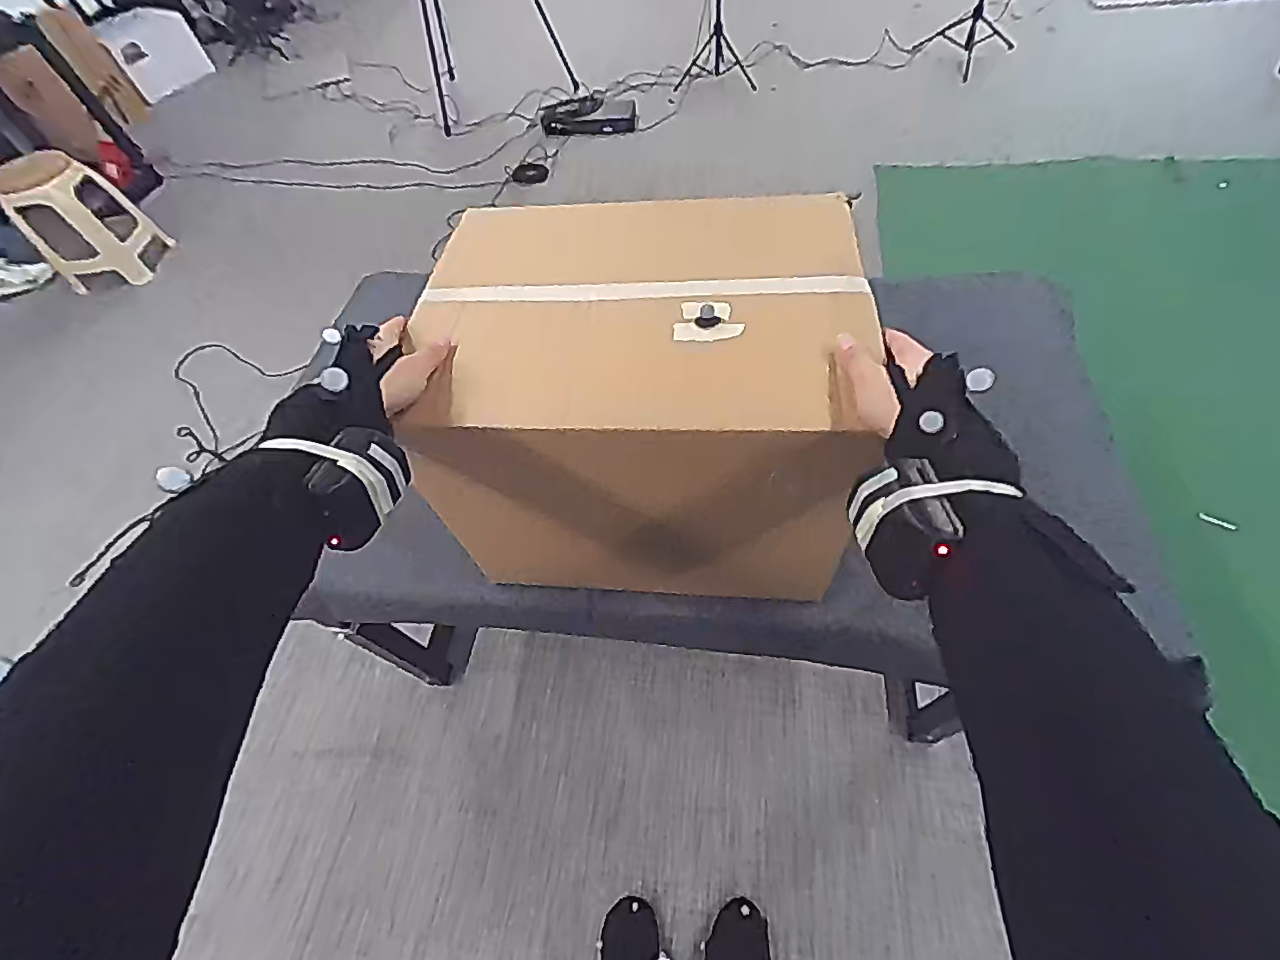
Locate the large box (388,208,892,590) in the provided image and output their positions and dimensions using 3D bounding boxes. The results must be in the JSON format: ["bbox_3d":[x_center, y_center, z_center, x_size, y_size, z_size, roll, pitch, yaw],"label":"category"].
[{"bbox_3d":[0.011,-0.079,0.622,0.408,0.320,0.320,1,56,7],"label":"large box"}]
